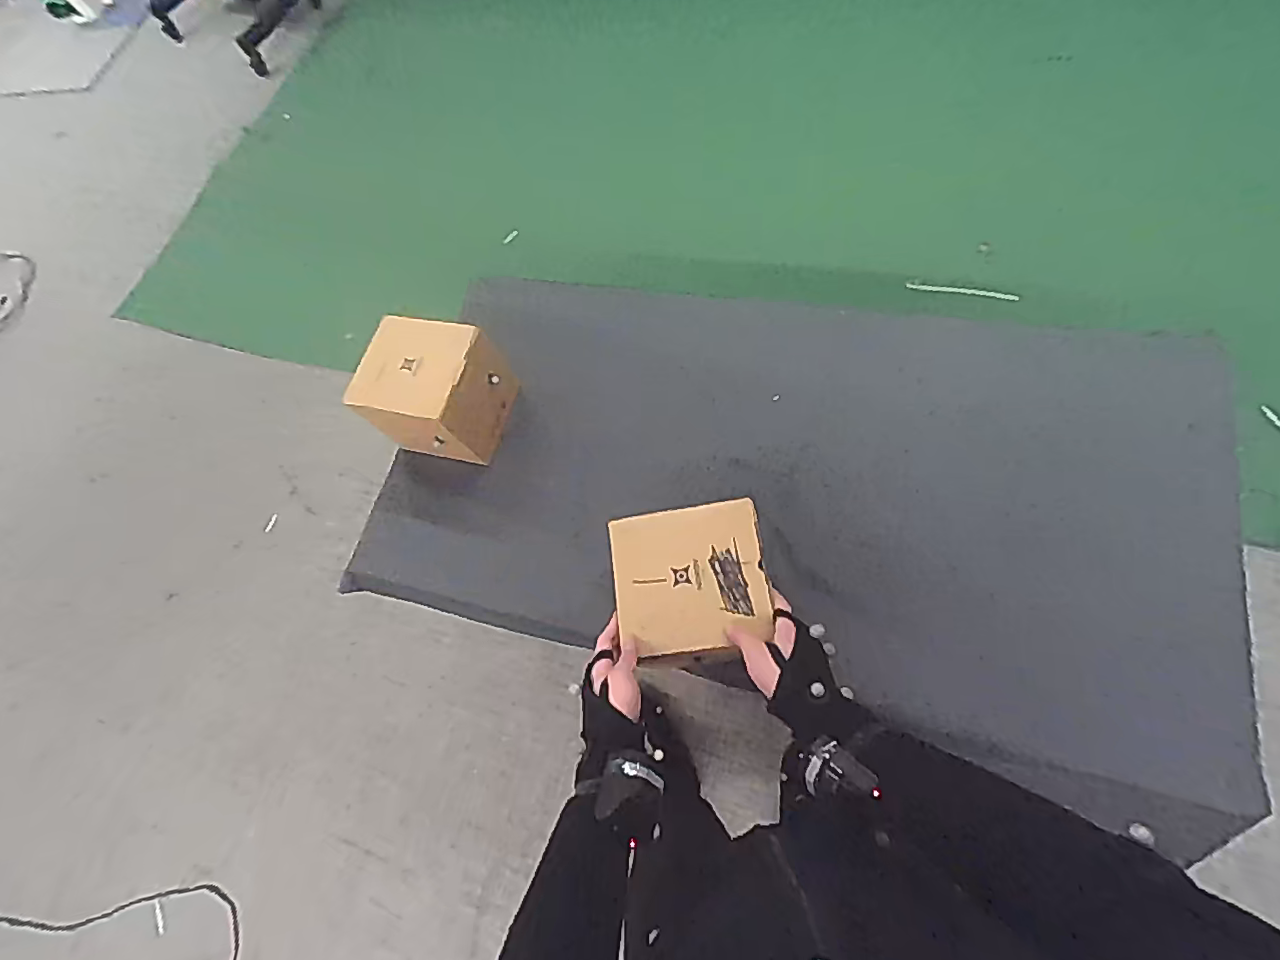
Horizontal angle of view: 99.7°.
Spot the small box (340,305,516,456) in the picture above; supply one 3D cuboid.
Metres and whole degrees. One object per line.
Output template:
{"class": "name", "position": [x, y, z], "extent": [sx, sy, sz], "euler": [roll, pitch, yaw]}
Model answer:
{"class": "small box", "position": [-0.326, -0.153, 0.872], "extent": [0.179, 0.176, 0.168], "euler": [11, 69, 15]}

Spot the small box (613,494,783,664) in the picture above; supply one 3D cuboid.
{"class": "small box", "position": [0.069, 0.131, 0.676], "extent": [0.179, 0.176, 0.168], "euler": [-8, 65, 6]}
